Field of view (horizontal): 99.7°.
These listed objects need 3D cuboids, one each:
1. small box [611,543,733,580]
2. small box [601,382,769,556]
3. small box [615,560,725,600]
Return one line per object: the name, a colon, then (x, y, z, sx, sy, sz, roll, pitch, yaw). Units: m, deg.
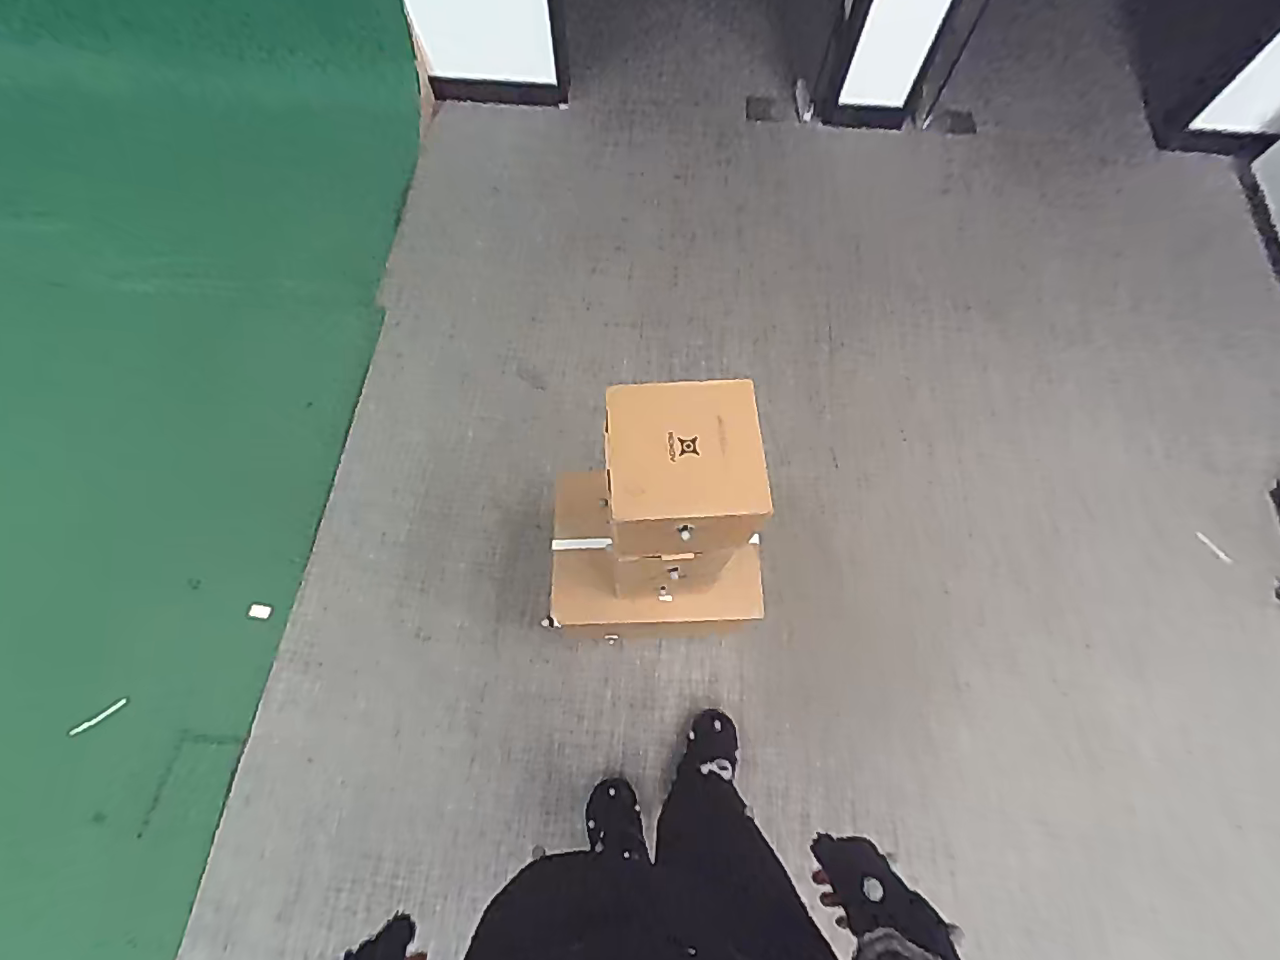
small box: (0.038, 0.052, 0.823, 0.168, 0.176, 0.179, -4, 69, -3)
small box: (0.045, -0.006, 0.671, 0.179, 0.176, 0.168, -3, 70, -3)
small box: (0.041, 0.116, 0.973, 0.179, 0.176, 0.168, -6, 69, -4)
